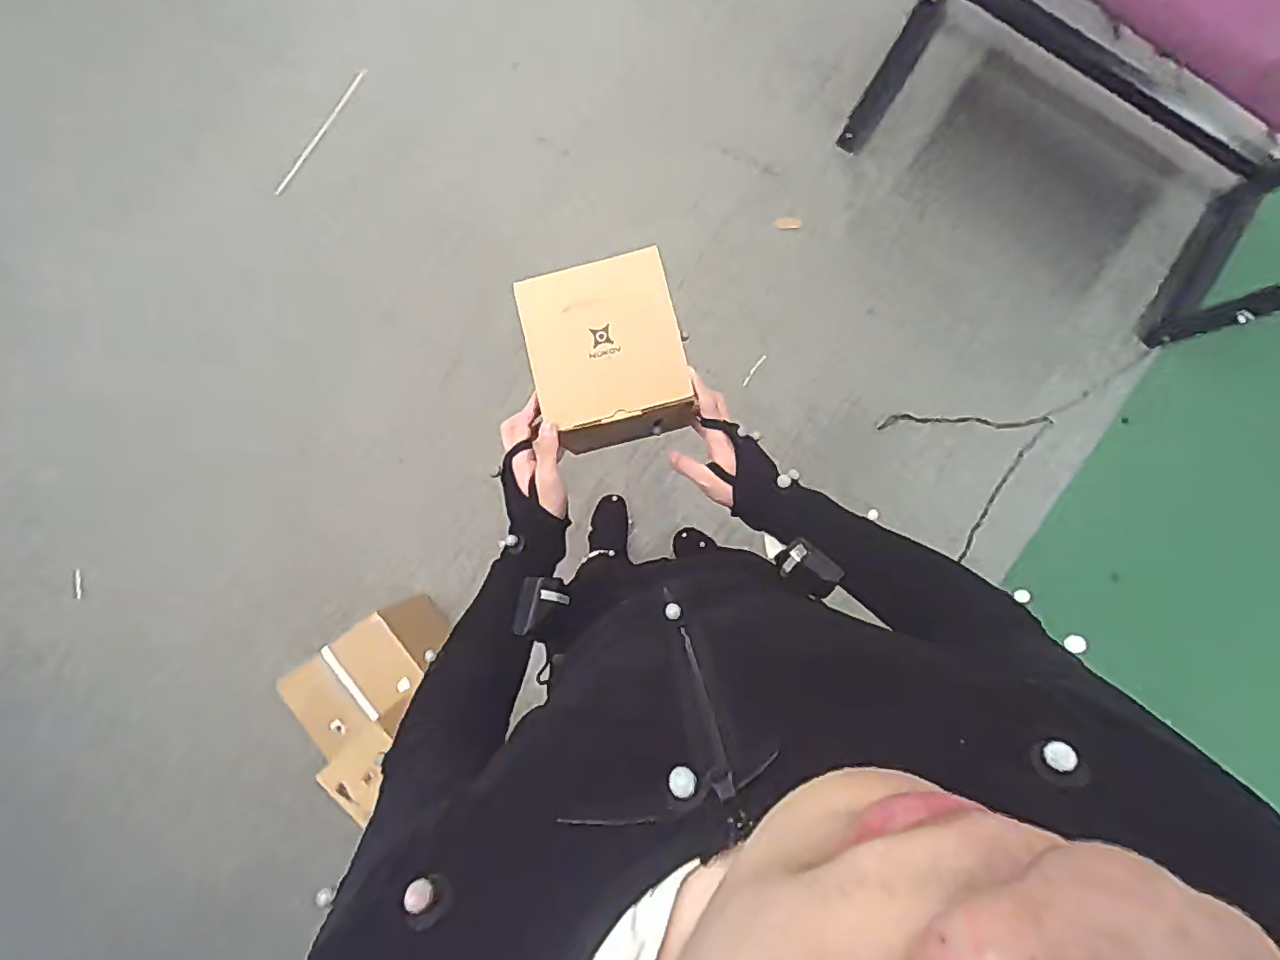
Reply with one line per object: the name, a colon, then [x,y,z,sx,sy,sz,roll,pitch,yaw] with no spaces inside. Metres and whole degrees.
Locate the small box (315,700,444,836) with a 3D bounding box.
small box: [-0.569,0.632,1.215,0.179,0.176,0.168,-45,88,-4]

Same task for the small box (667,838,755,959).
small box: [0.152,0.935,1.213,0.179,0.176,0.168,1,87,-1]

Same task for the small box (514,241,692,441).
small box: [-0.035,-0.149,0.651,0.168,0.176,0.179,-12,85,2]

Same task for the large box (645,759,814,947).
large box: [0.220,0.978,1.460,0.408,0.320,0.320,1,89,-2]
